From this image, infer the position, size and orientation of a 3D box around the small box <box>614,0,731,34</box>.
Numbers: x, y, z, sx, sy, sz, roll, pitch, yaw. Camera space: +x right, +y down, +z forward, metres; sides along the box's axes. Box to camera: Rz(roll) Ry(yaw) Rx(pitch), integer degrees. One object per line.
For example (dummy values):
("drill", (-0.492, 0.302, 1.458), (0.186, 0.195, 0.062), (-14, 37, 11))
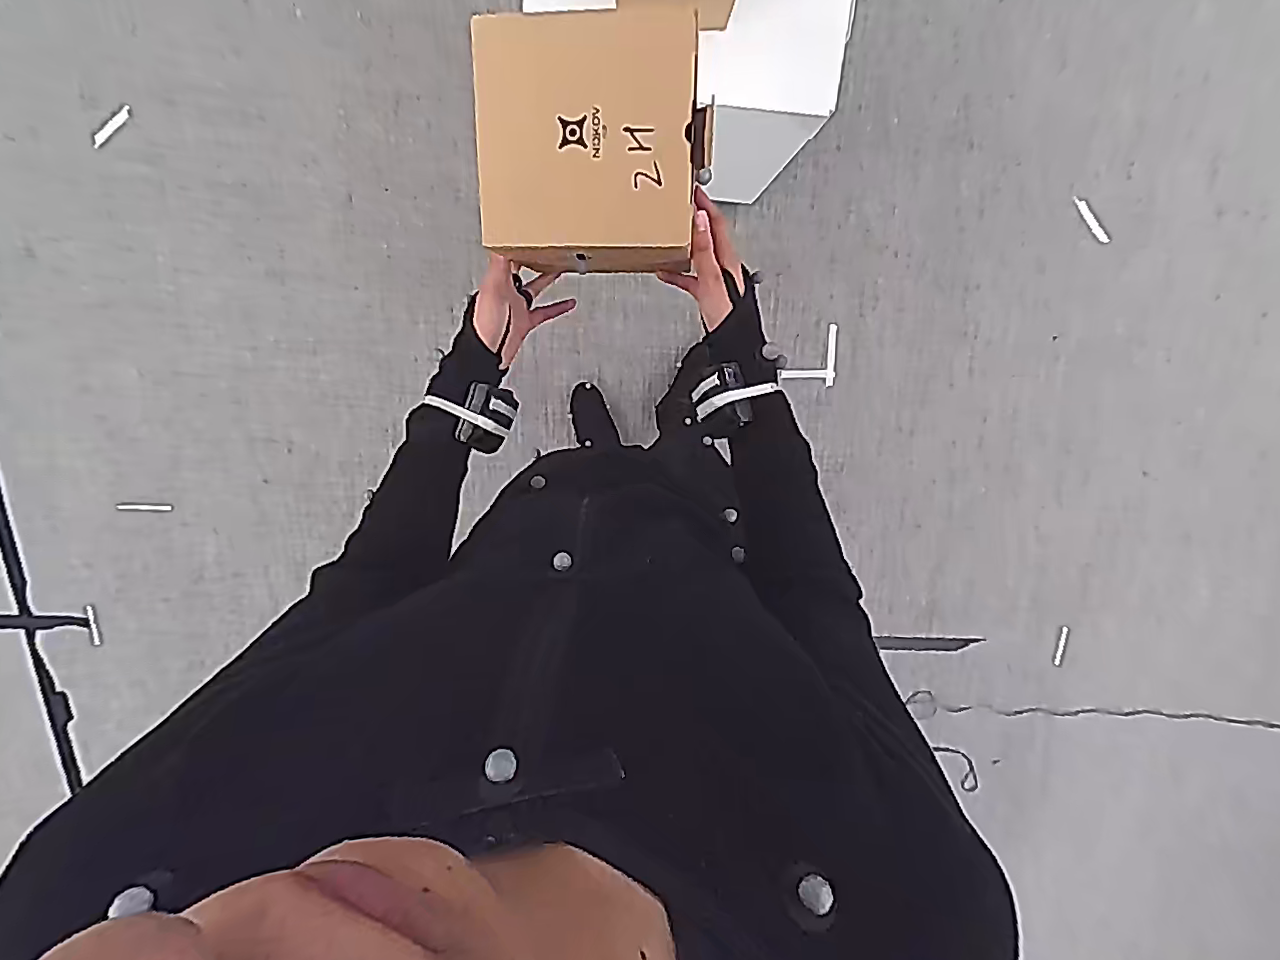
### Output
("small box", (0.047, -0.767, 0.763), (0.179, 0.176, 0.168), (-3, 104, -2))

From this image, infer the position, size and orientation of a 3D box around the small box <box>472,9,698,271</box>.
("small box", (-0.038, -0.291, 0.504), (0.179, 0.176, 0.168), (1, 105, 4))
